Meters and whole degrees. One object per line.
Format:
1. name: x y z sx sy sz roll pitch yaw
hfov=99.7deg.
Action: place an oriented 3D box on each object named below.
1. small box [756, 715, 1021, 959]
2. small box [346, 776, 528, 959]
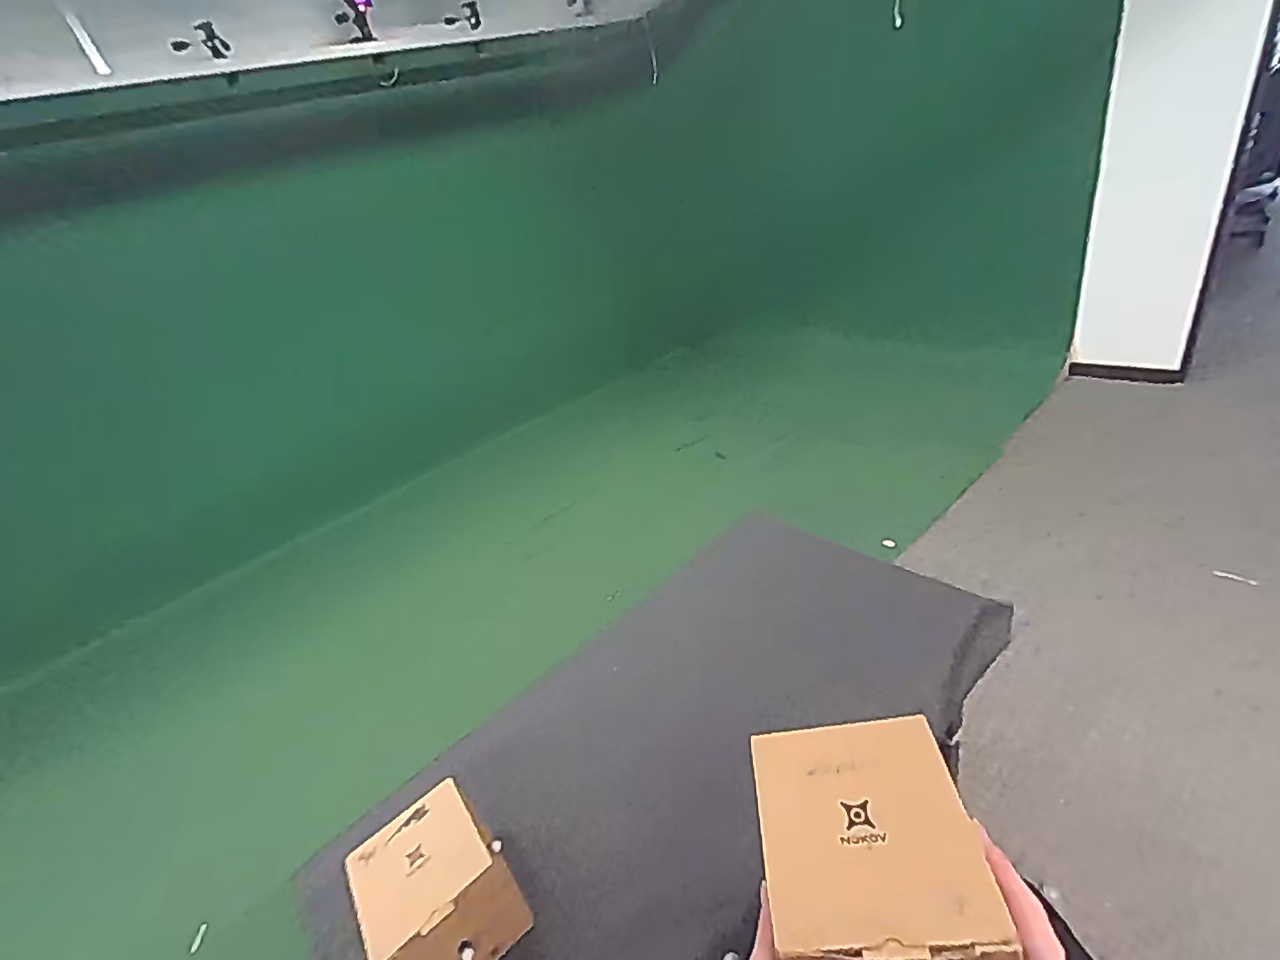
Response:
1. small box: 0.207 0.346 0.483 0.168 0.176 0.179 -12 28 11
2. small box: -0.285 0.583 0.775 0.168 0.176 0.179 -31 33 -27
